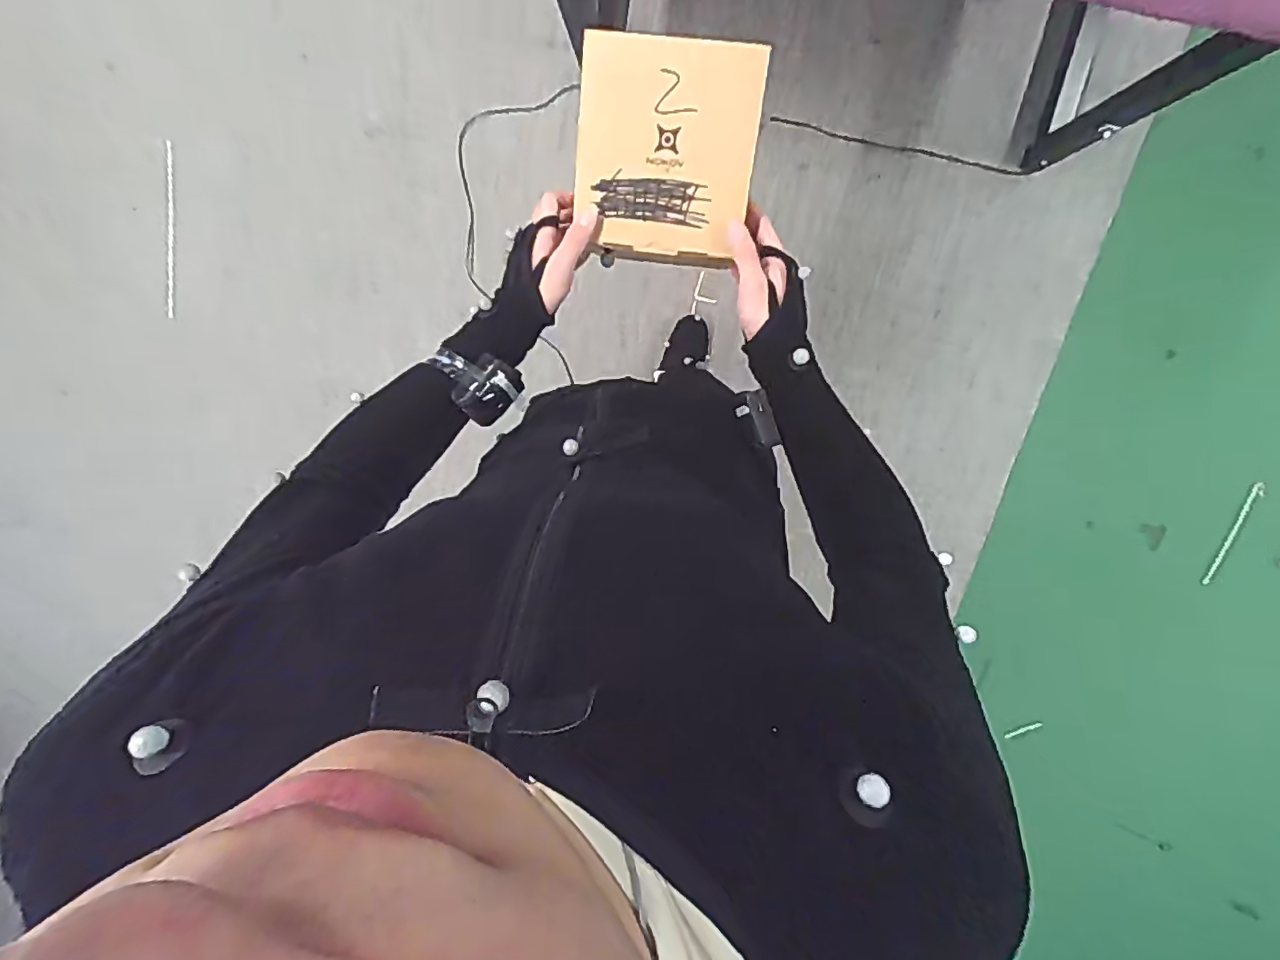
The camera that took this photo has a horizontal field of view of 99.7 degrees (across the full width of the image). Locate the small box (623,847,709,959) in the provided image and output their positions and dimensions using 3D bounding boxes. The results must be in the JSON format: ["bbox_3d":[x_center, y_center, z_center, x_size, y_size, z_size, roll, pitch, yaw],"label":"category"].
[{"bbox_3d":[0.067,1.071,1.359,0.179,0.176,0.168,14,103,3],"label":"small box"}]
